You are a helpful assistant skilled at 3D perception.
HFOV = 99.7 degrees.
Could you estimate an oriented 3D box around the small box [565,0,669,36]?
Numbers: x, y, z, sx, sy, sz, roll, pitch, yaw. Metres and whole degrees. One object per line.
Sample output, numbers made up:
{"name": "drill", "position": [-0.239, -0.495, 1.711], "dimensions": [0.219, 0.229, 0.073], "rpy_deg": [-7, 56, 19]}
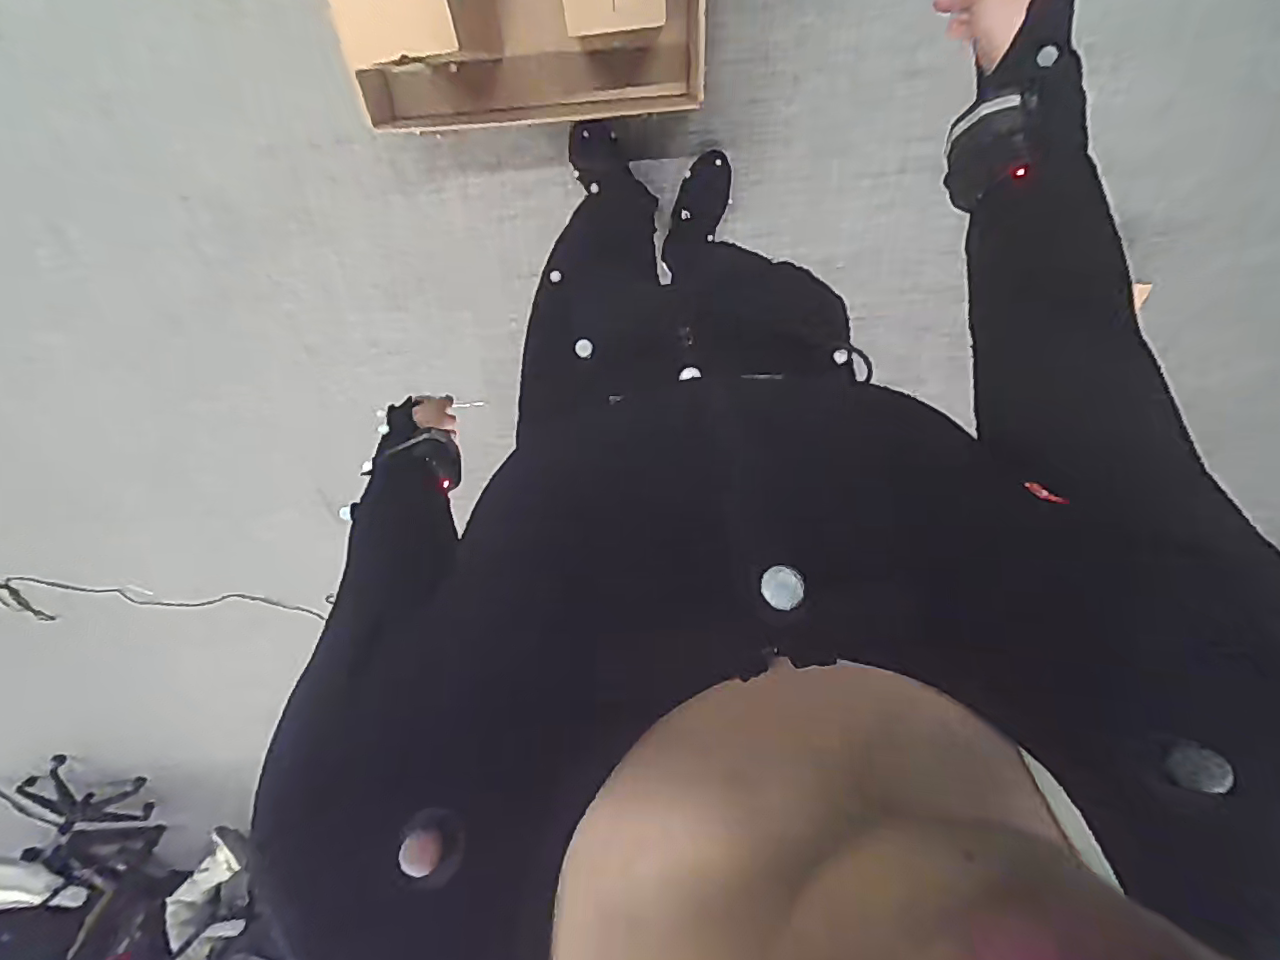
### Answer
{"name": "small box", "position": [-0.042, -0.848, 0.885], "dimensions": [0.168, 0.176, 0.179], "rpy_deg": [-4, 130, 4]}

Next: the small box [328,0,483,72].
{"name": "small box", "position": [-0.341, -0.713, 0.780], "dimensions": [0.168, 0.176, 0.179], "rpy_deg": [-6, 129, 4]}
